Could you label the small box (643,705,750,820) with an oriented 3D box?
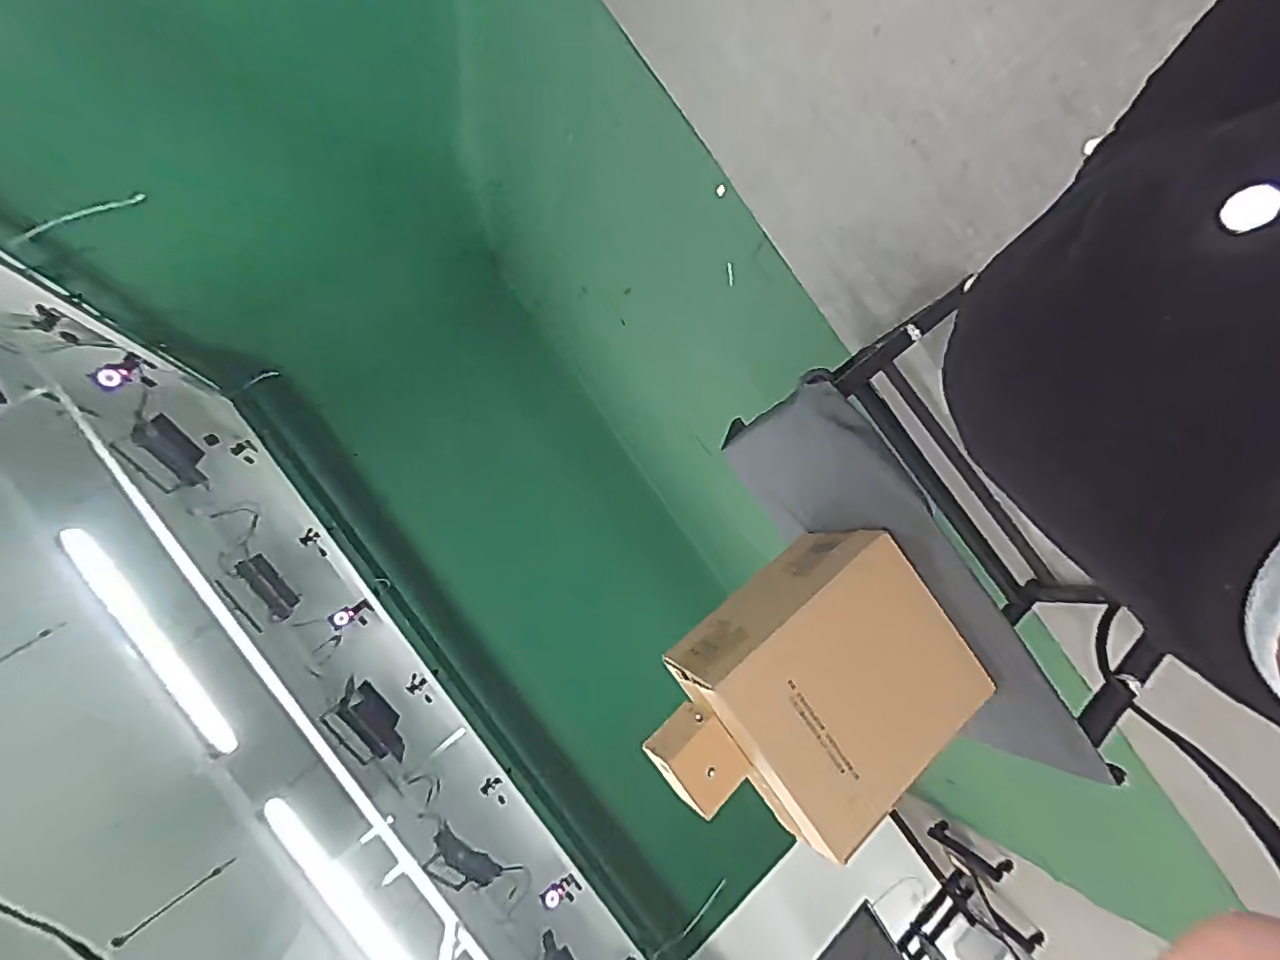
[{"bbox_3d":[0.144,0.708,1.382,0.179,0.176,0.168,54,157,-4],"label":"small box"}]
